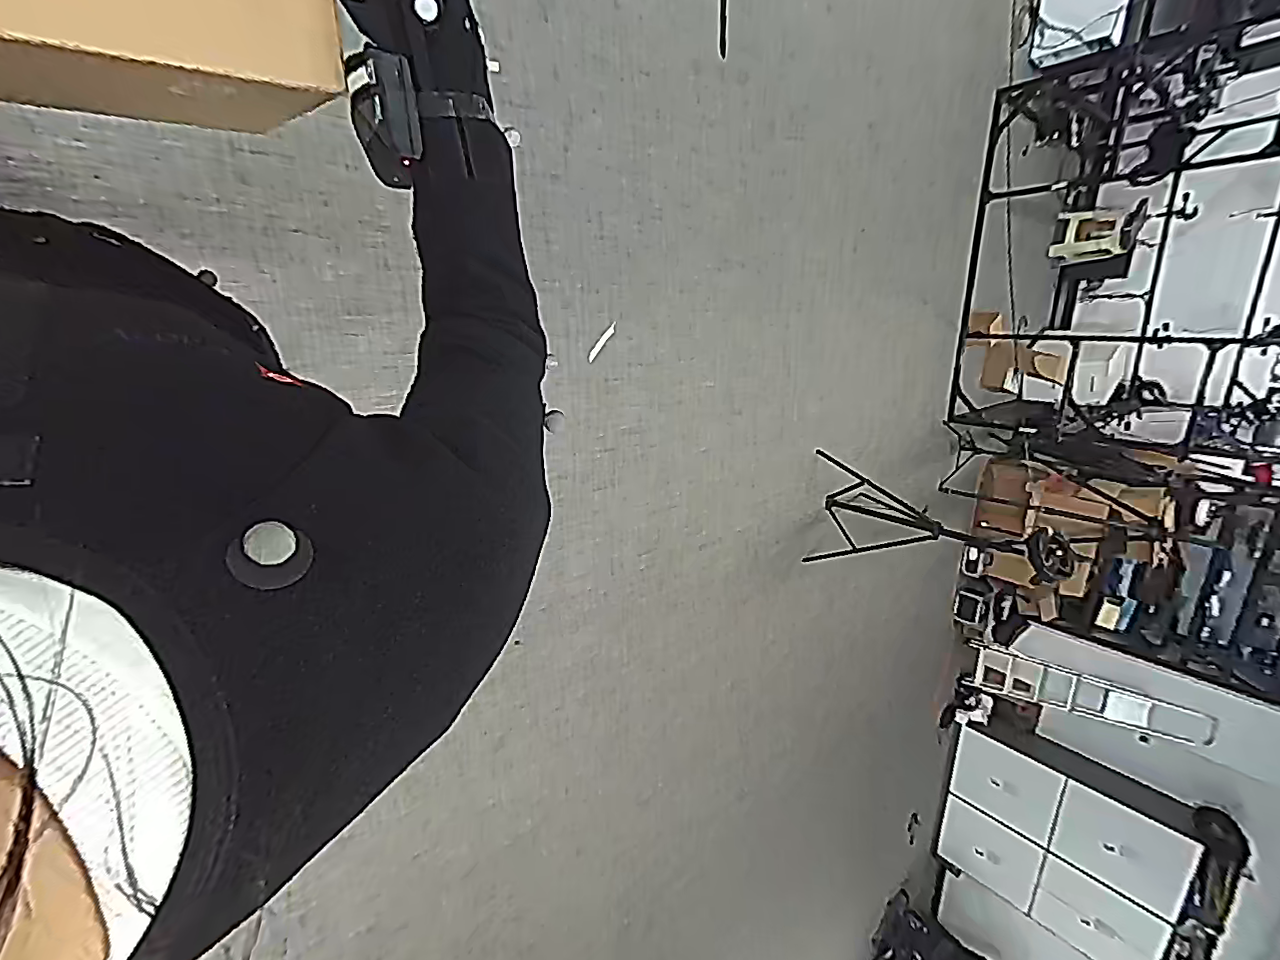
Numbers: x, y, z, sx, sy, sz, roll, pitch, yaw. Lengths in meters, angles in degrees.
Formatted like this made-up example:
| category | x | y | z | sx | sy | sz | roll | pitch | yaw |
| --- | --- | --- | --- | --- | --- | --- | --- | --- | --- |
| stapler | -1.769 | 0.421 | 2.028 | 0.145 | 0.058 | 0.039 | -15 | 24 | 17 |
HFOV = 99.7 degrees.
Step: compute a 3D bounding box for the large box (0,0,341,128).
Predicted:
| category | x | y | z | sx | sy | sz | roll | pitch | yaw |
| --- | --- | --- | --- | --- | --- | --- | --- | --- | --- |
| large box | -0.435 | -0.390 | 0.268 | 0.408 | 0.320 | 0.320 | -19 | 124 | -37 |
